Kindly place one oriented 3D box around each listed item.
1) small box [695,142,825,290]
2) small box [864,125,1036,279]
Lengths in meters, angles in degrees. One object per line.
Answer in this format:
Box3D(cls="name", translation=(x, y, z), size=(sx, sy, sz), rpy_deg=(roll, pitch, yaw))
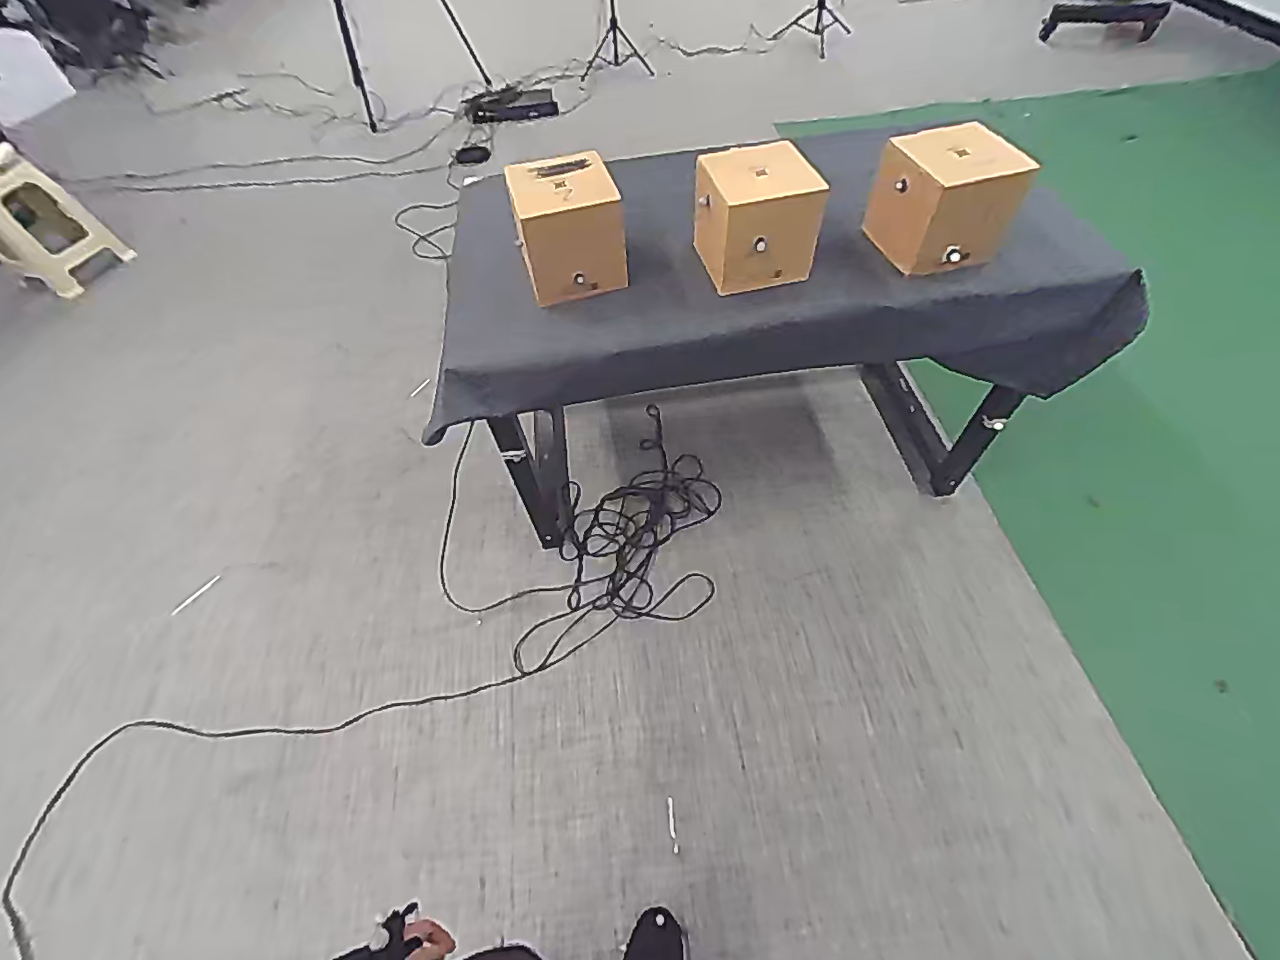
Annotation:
Box3D(cls="small box", translation=(0.198, -0.451, 0.942), size=(0.168, 0.176, 0.179), rpy_deg=(-12, 55, -5))
Box3D(cls="small box", translation=(0.522, -0.482, 0.944), size=(0.168, 0.176, 0.179), rpy_deg=(-14, 56, -5))
